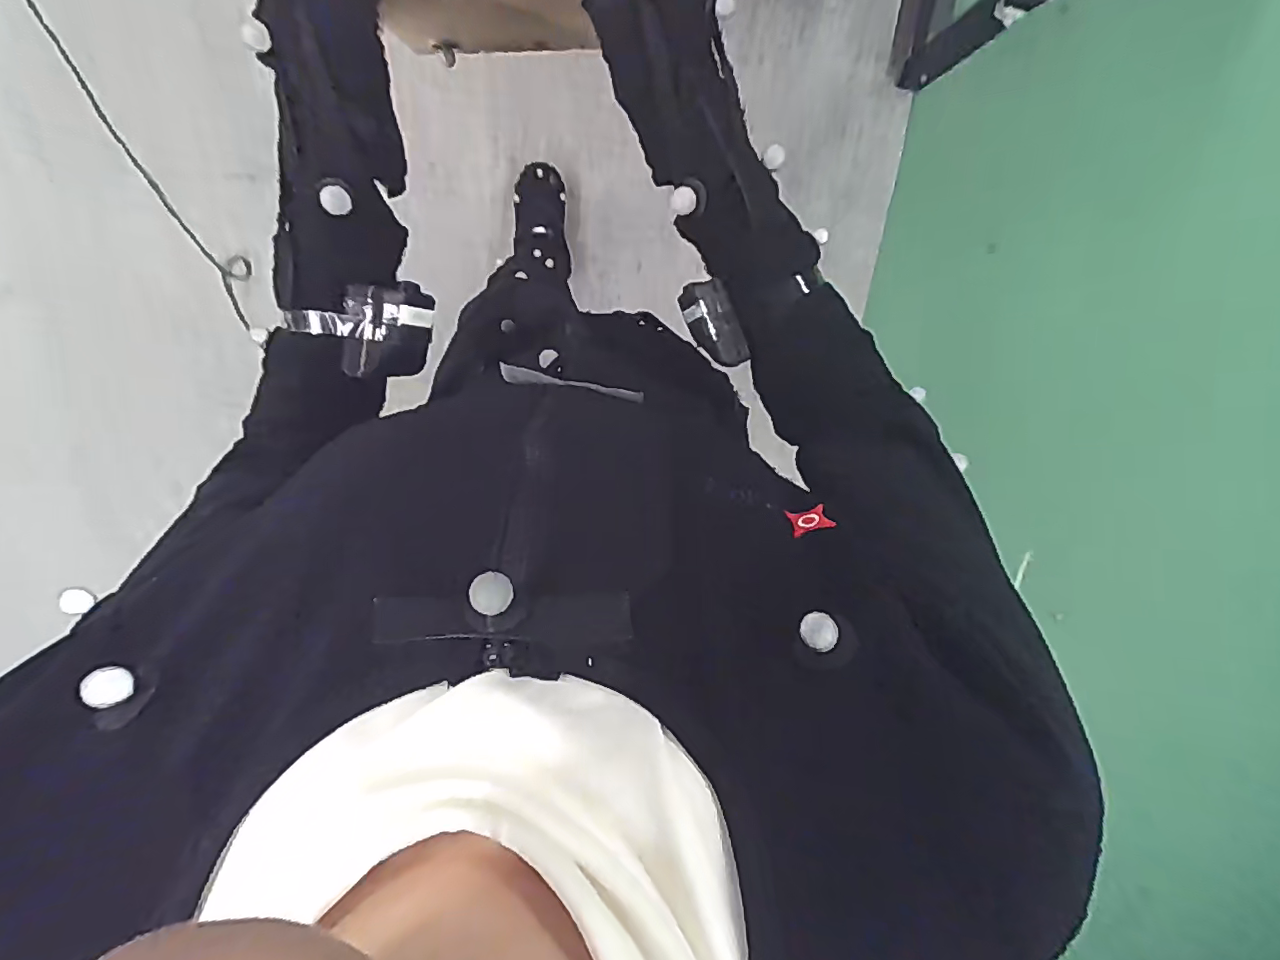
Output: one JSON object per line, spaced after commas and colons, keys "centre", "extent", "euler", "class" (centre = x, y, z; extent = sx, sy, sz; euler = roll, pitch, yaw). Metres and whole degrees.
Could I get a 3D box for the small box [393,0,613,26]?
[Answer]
{"centre": [-0.100, -0.406, 0.329], "extent": [0.168, 0.176, 0.179], "euler": [-4, 115, -2], "class": "small box"}
